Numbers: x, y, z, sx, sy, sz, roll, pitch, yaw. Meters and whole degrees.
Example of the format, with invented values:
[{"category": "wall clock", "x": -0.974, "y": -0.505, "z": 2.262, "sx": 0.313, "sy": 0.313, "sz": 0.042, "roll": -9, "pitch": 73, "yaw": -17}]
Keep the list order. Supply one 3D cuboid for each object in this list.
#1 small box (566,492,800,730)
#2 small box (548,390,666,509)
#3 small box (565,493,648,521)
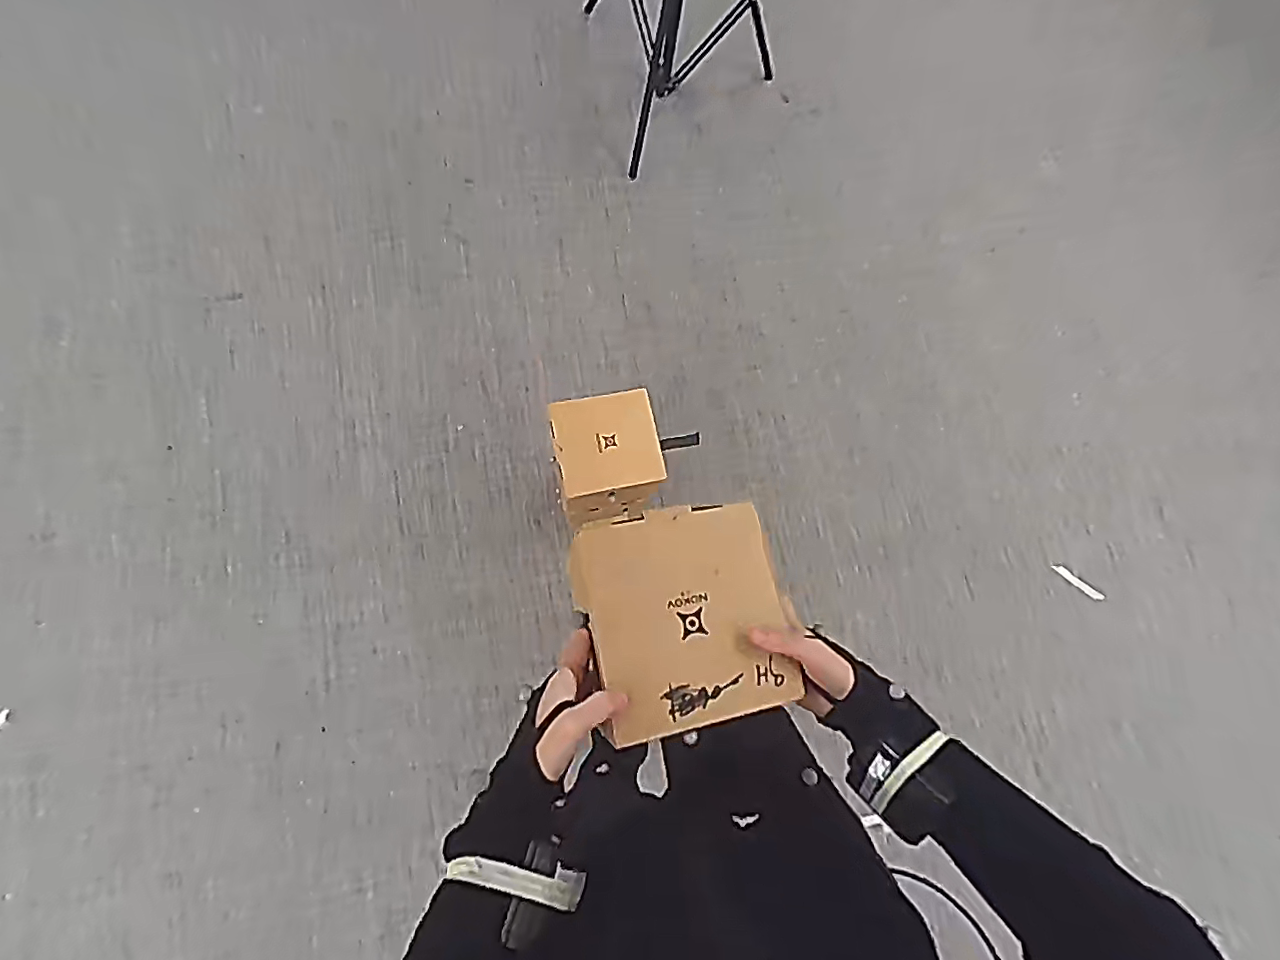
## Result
[{"category": "small box", "x": 0.025, "y": 0.128, "z": 0.531, "sx": 0.168, "sy": 0.176, "sz": 0.179, "roll": -9, "pitch": 74, "yaw": -14}, {"category": "small box", "x": -0.065, "y": -0.049, "z": 0.985, "sx": 0.179, "sy": 0.176, "sz": 0.168, "roll": -12, "pitch": 81, "yaw": -8}, {"category": "small box", "x": -0.086, "y": -0.015, "z": 1.143, "sx": 0.168, "sy": 0.176, "sz": 0.179, "roll": -11, "pitch": 79, "yaw": -9}]
